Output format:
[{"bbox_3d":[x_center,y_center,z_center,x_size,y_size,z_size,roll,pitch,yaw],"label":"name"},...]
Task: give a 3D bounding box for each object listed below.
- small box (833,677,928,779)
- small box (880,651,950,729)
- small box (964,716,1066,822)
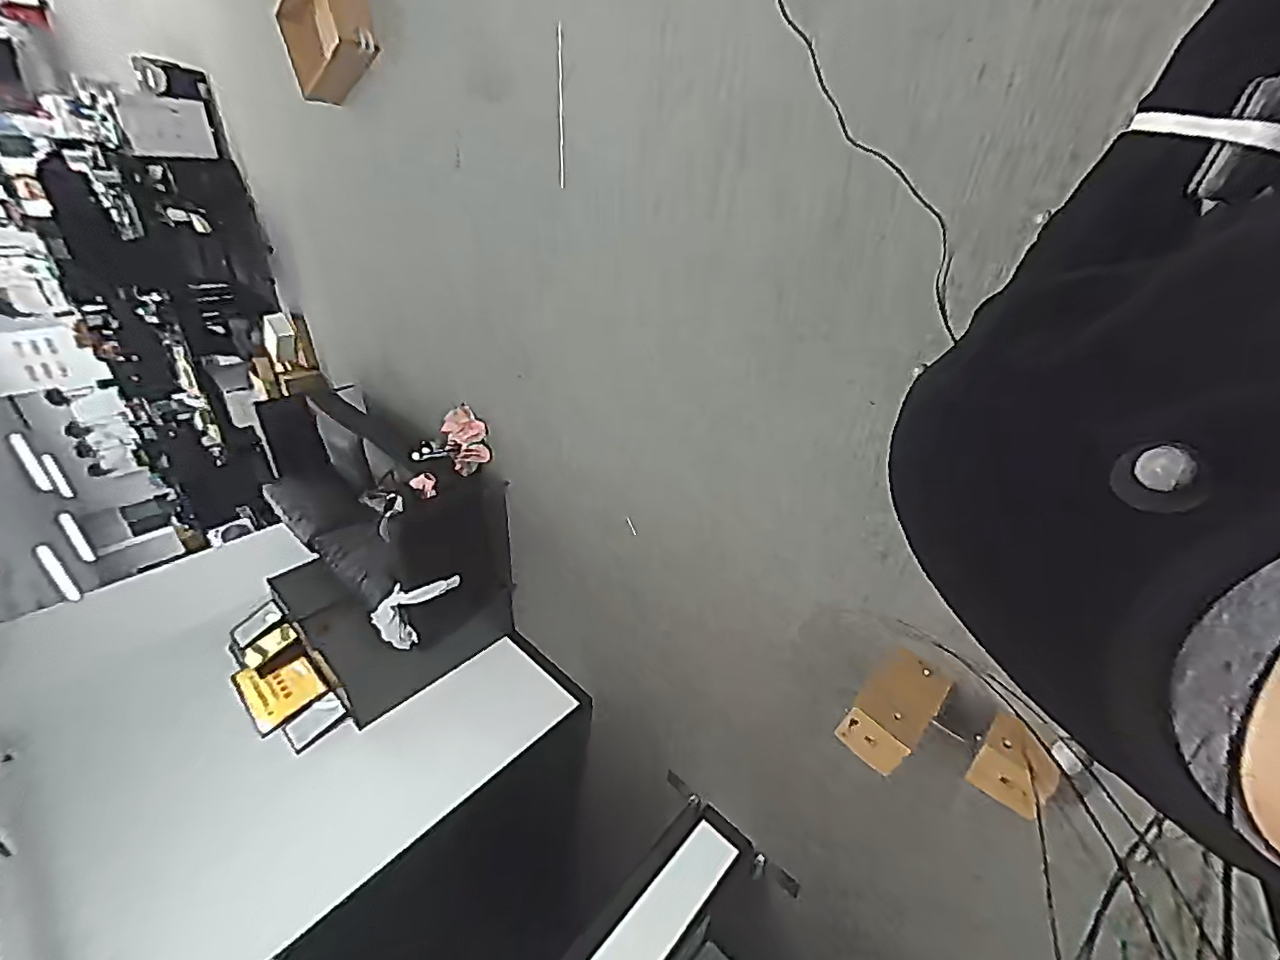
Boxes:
[{"bbox_3d":[0.710,0.722,1.588,0.179,0.176,0.168,35,132,27],"label":"small box"},{"bbox_3d":[0.832,0.676,1.689,0.168,0.176,0.179,36,132,28],"label":"small box"},{"bbox_3d":[1.056,0.799,1.521,0.179,0.176,0.168,27,128,34],"label":"small box"}]
